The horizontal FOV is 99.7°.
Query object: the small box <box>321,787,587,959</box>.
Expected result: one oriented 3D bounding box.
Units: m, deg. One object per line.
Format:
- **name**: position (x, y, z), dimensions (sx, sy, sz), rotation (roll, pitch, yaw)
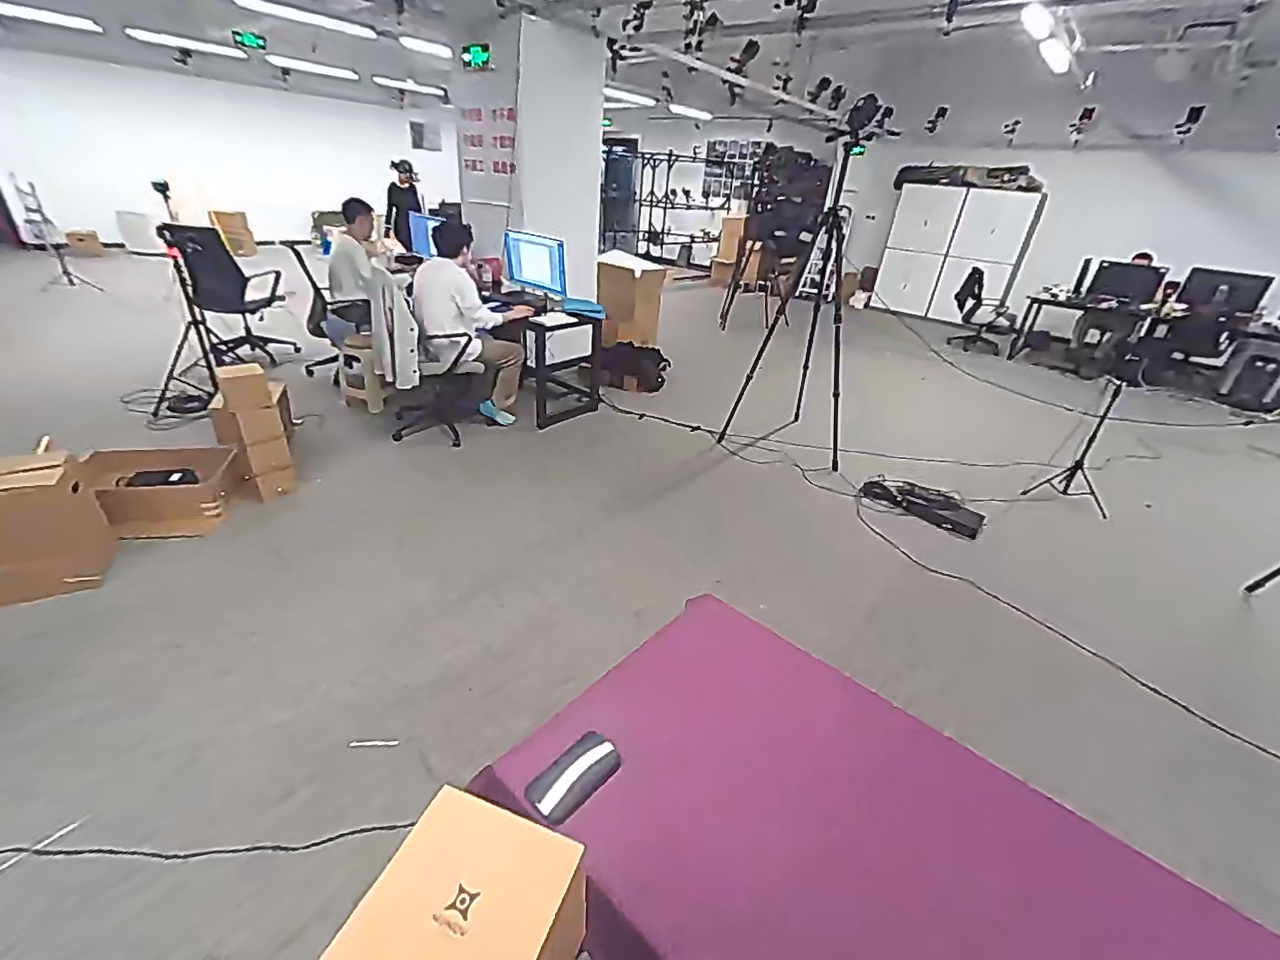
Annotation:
- **small box**: position (-0.163, 0.450, 0.519), dimensions (0.168, 0.176, 0.179), rotation (13, 31, 17)
